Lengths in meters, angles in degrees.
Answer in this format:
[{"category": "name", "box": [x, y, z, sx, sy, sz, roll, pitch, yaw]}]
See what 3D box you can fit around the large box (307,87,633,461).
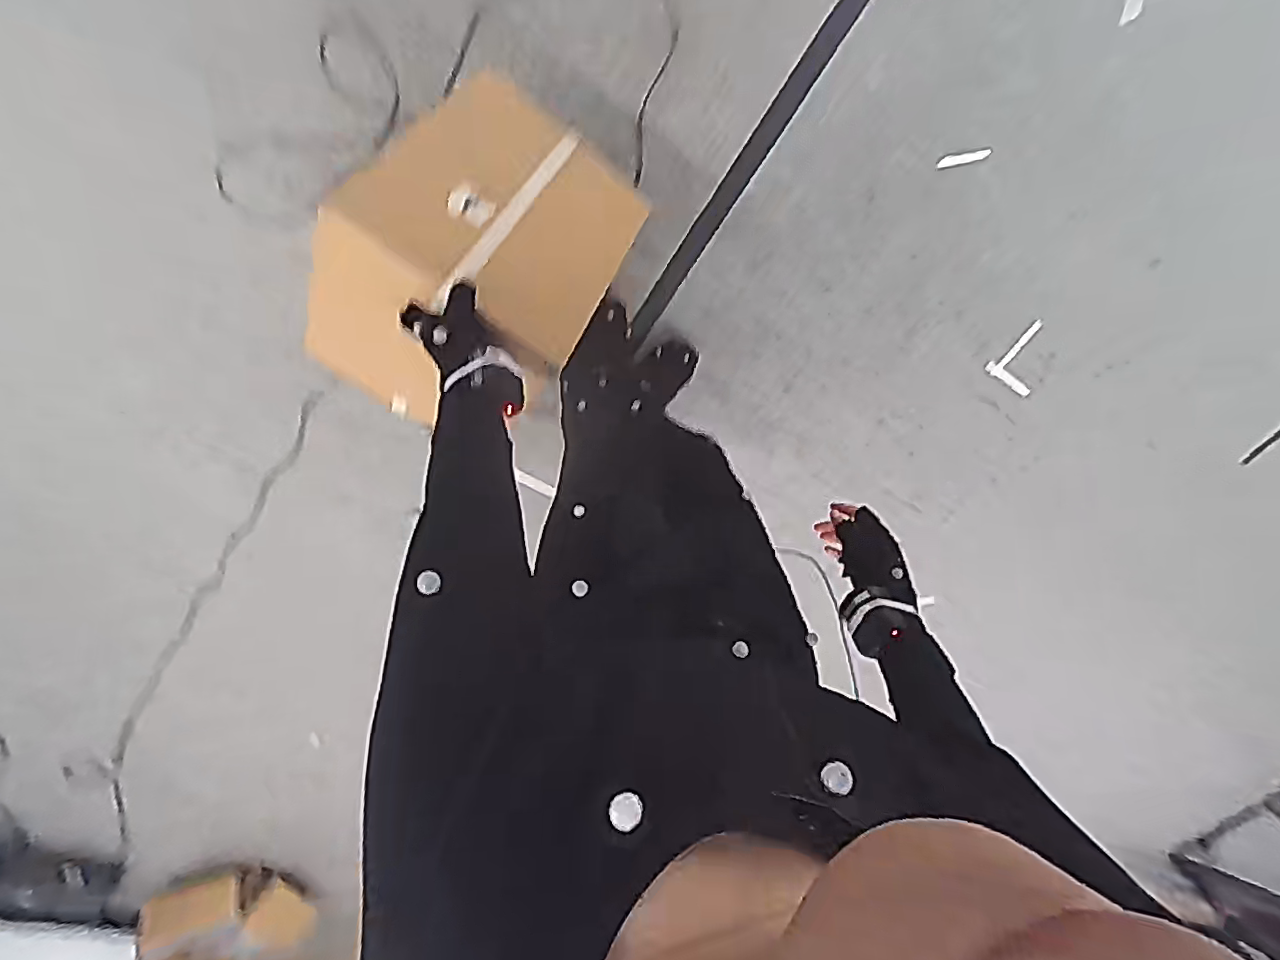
[{"category": "large box", "box": [-0.263, -0.310, 0.872, 0.320, 0.408, 0.320, 32, 145, -18]}]
